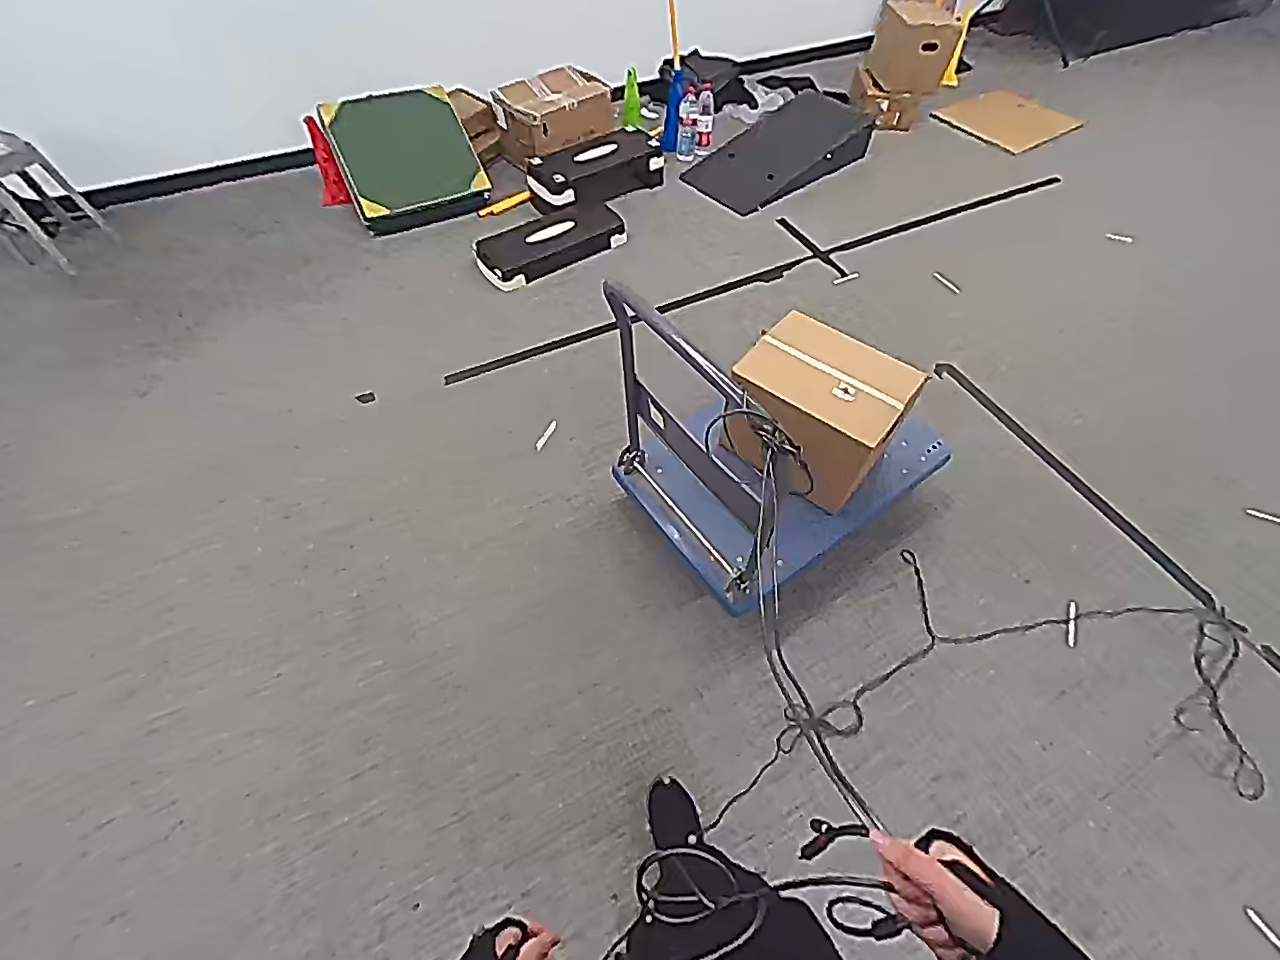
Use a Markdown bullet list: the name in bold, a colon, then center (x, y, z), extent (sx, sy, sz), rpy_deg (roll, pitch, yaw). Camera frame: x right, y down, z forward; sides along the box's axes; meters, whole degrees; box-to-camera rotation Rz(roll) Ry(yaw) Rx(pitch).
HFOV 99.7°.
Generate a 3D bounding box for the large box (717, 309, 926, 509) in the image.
- **large box**: center (0.476, -0.195, 1.497), extent (0.408, 0.320, 0.320), rpy_deg (35, 64, 20)
